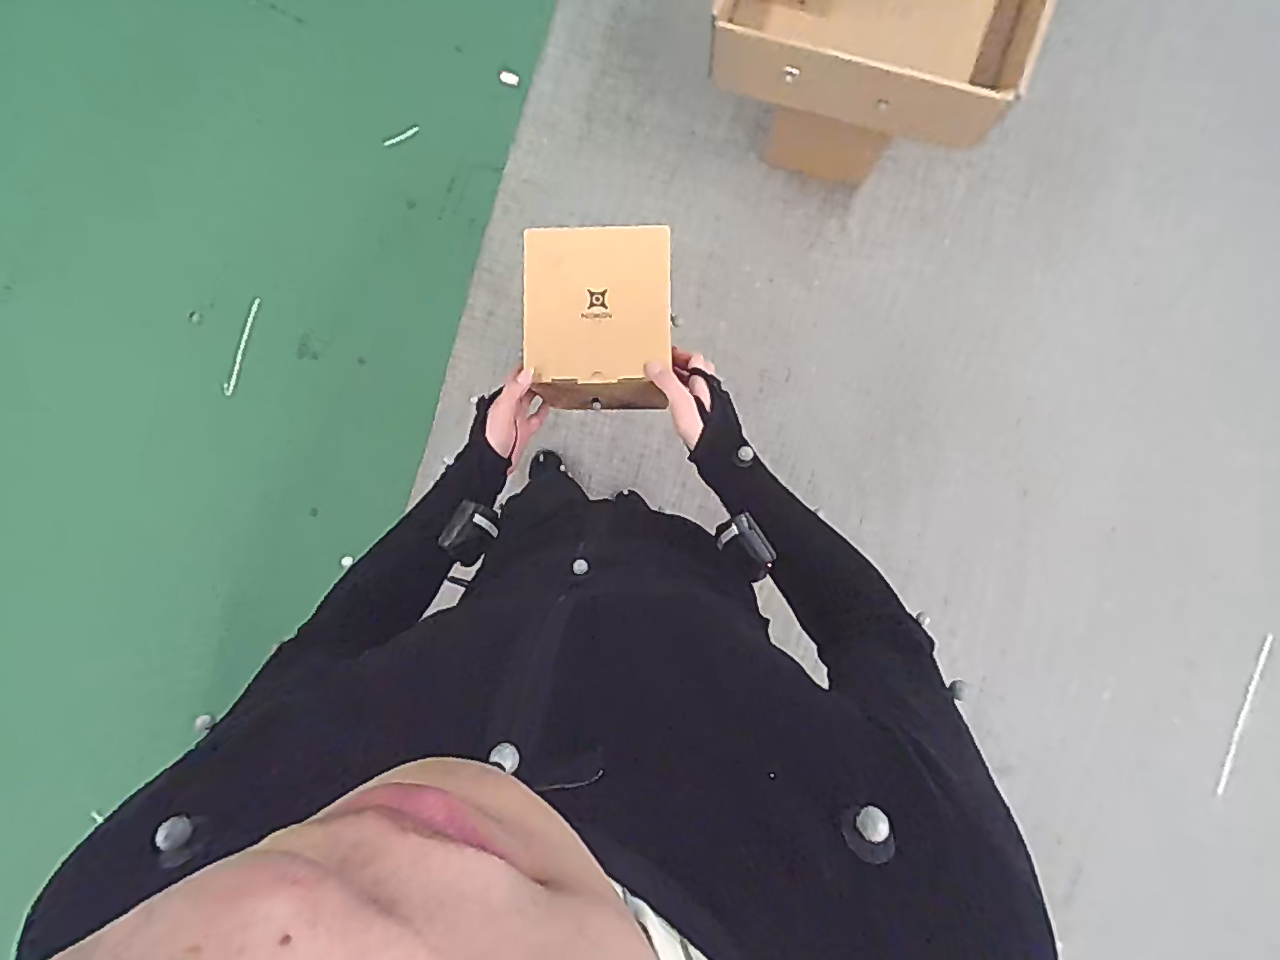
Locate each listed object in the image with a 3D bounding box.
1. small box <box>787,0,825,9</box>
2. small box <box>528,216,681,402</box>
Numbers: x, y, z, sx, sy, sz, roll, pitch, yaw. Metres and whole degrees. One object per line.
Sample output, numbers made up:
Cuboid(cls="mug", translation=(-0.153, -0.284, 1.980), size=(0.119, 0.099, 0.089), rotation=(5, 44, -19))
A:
Cuboid(cls="small box", translation=(0.340, -1.120, 1.088), size=(0.168, 0.176, 0.179), rotation=(19, 92, 3))
Cuboid(cls="small box", translation=(-0.040, -0.200, 0.675), size=(0.168, 0.176, 0.179), rotation=(1, 89, 0))
